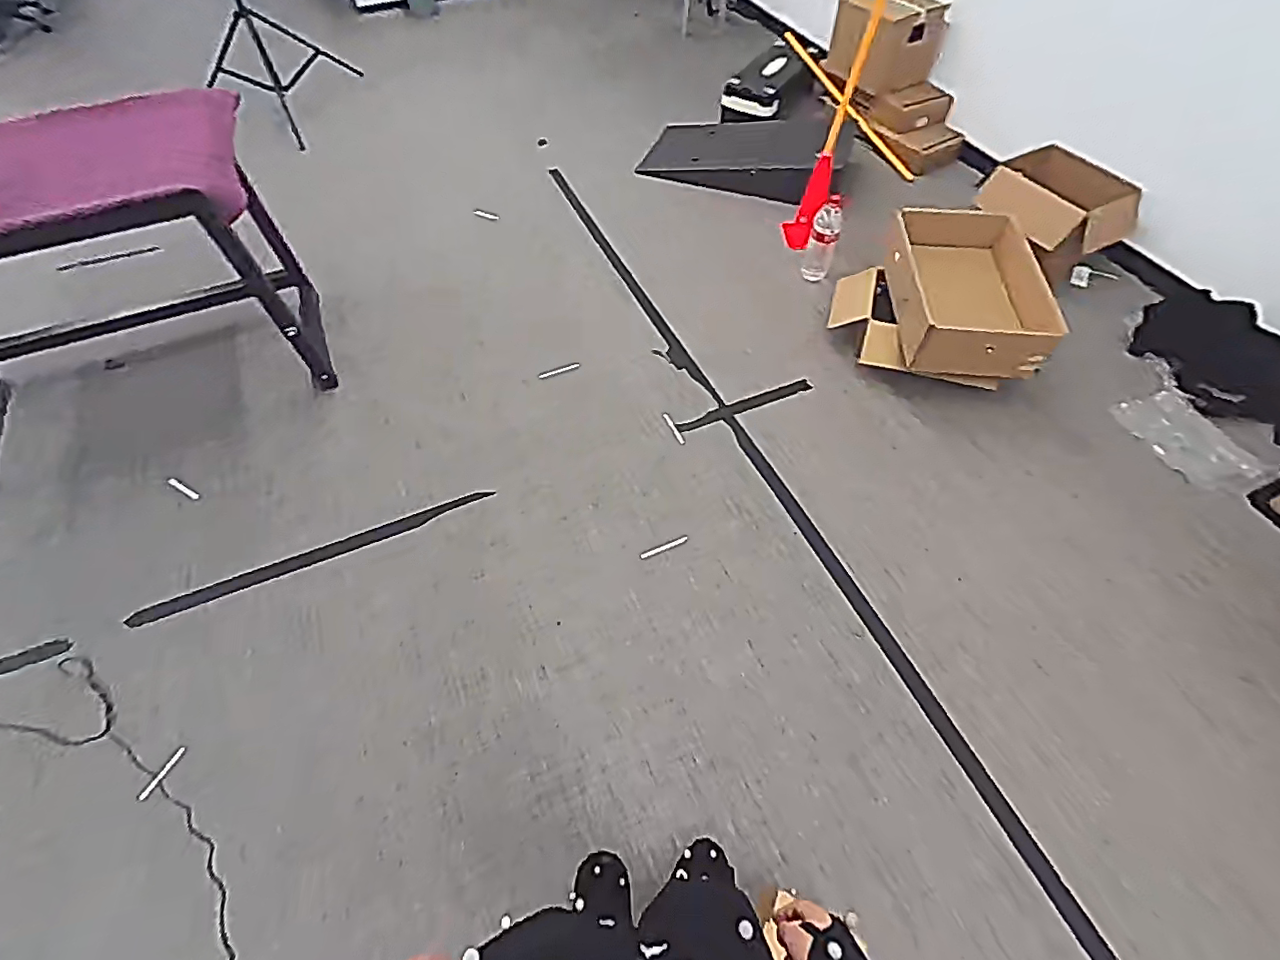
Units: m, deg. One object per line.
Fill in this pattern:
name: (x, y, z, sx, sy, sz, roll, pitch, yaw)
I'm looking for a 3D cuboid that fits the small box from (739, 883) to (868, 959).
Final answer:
small box: (0.308, 0.922, 1.051, 0.179, 0.176, 0.168, 25, 62, 14)
